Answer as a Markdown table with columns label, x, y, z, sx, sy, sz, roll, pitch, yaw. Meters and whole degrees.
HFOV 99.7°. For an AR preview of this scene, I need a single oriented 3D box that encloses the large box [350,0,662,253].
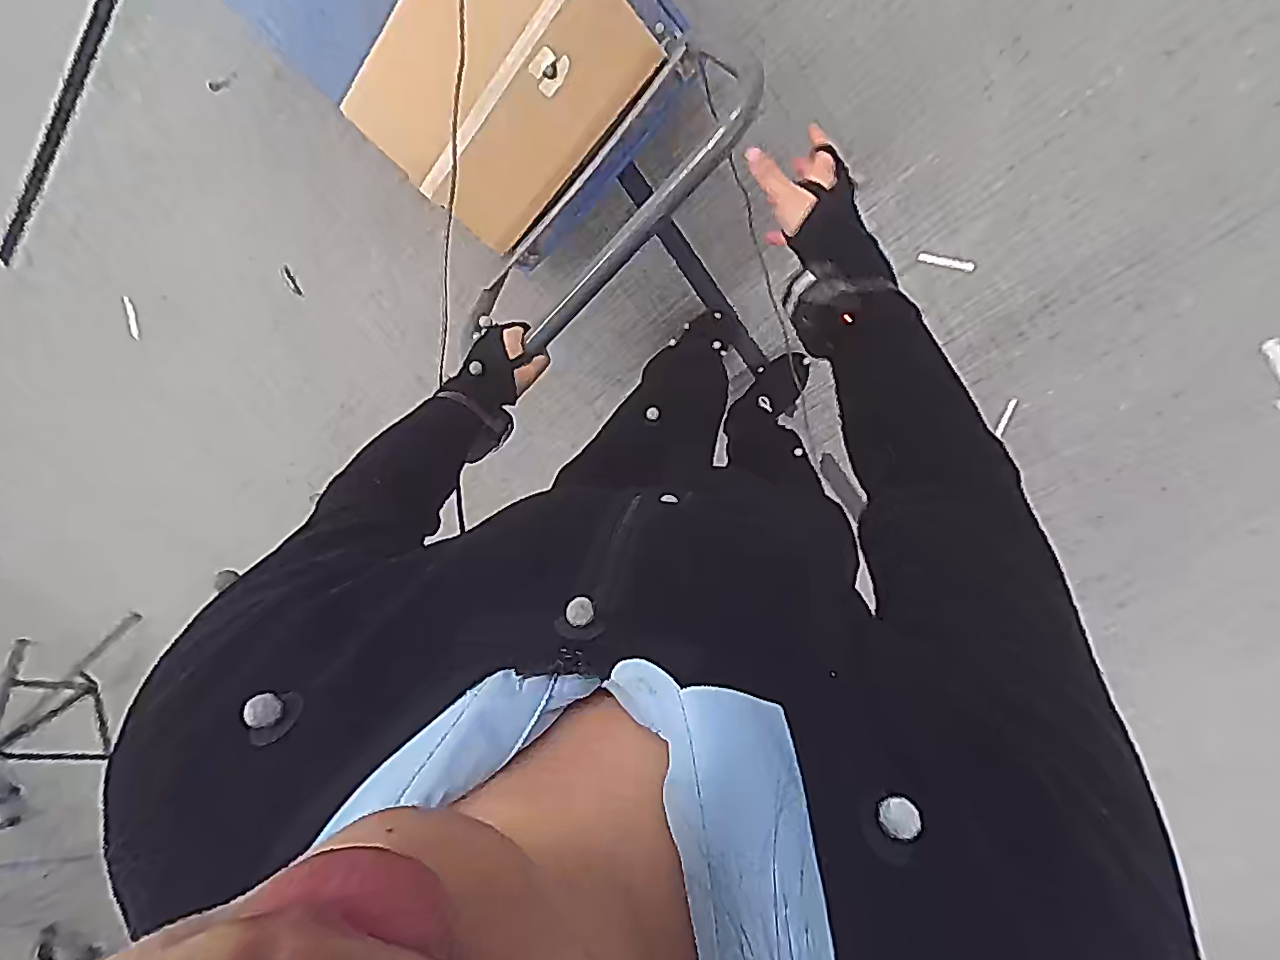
| label | x | y | z | sx | sy | sz | roll | pitch | yaw |
| --- | --- | --- | --- | --- | --- | --- | --- | --- | --- |
| large box | -0.212 | -0.686 | 0.941 | 0.320 | 0.320 | 0.408 | 39 | 116 | -25 |
